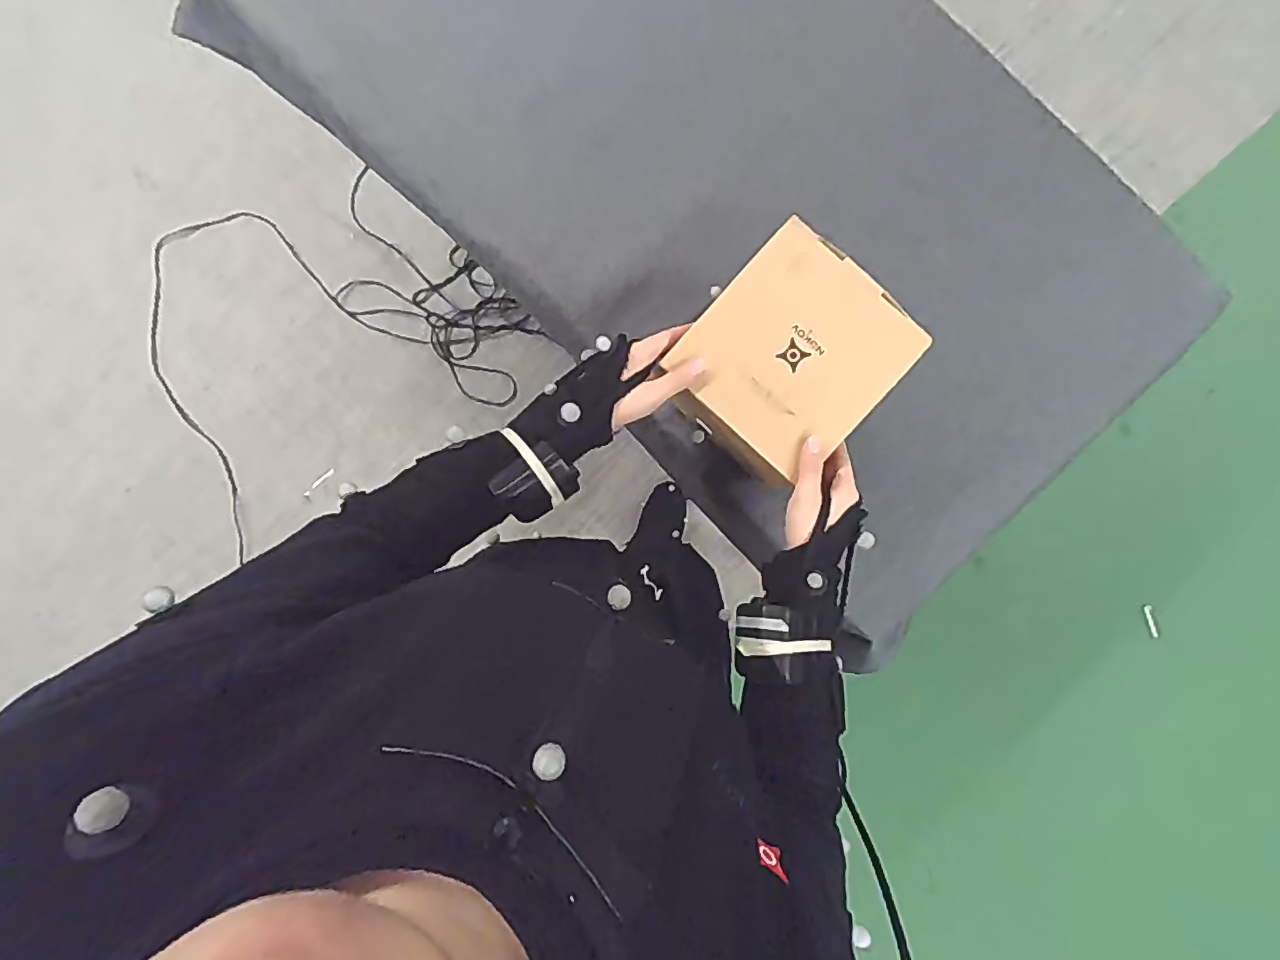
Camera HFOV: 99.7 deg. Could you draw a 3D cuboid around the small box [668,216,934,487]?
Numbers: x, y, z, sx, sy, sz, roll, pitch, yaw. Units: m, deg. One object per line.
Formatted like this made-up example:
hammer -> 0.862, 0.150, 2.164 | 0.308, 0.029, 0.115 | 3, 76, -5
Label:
small box -> 0.139, -0.113, 0.544 | 0.168, 0.176, 0.179 | 41, 93, 1
